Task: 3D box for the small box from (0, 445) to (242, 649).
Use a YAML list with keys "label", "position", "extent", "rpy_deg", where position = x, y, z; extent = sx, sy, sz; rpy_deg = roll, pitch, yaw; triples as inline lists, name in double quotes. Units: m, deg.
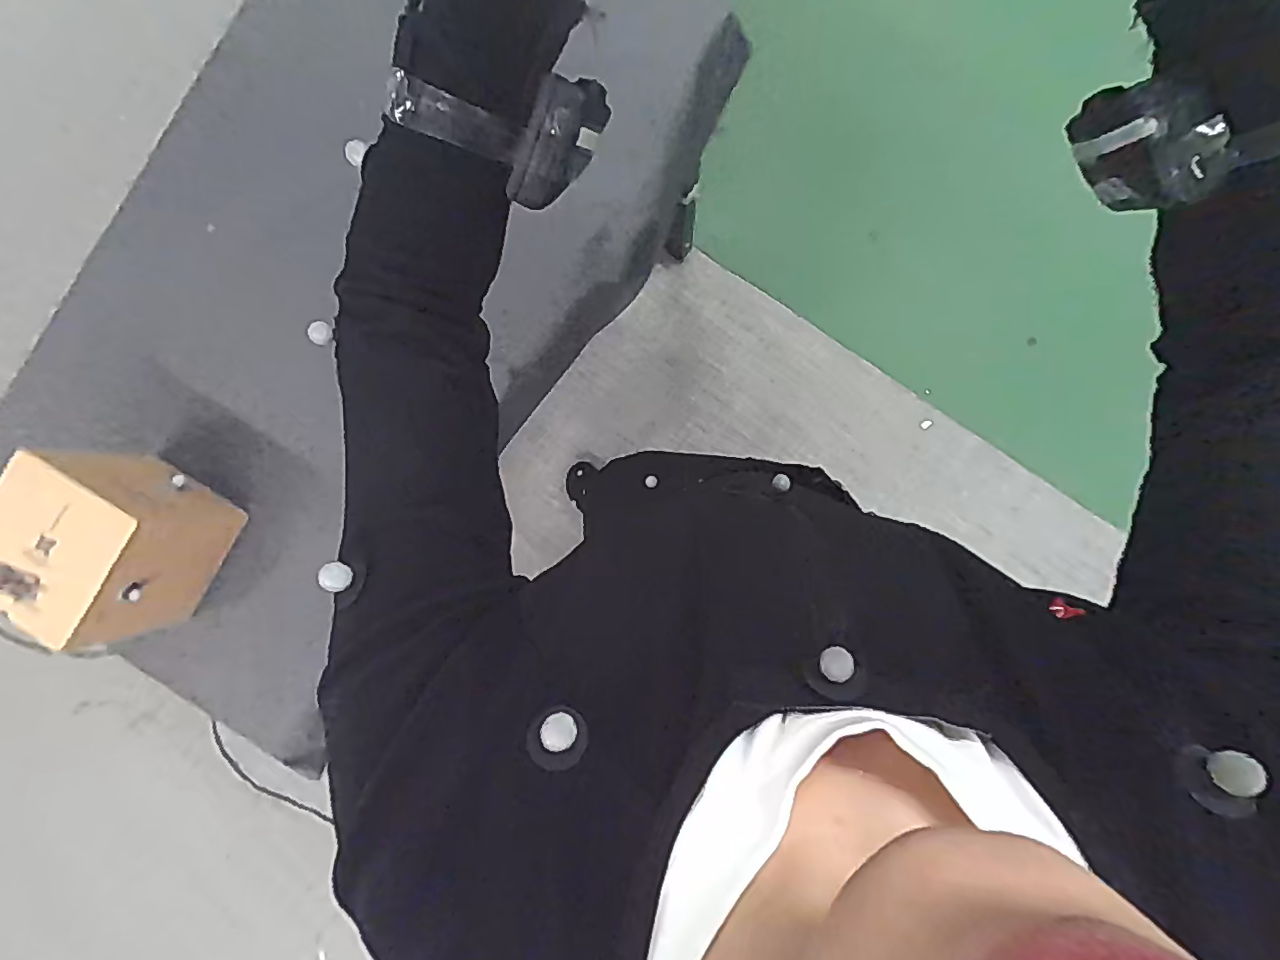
- label: "small box"
  position: [-0.665, 0.077, 0.686]
  extent: [0.168, 0.176, 0.179]
  rpy_deg: [31, 90, 2]
